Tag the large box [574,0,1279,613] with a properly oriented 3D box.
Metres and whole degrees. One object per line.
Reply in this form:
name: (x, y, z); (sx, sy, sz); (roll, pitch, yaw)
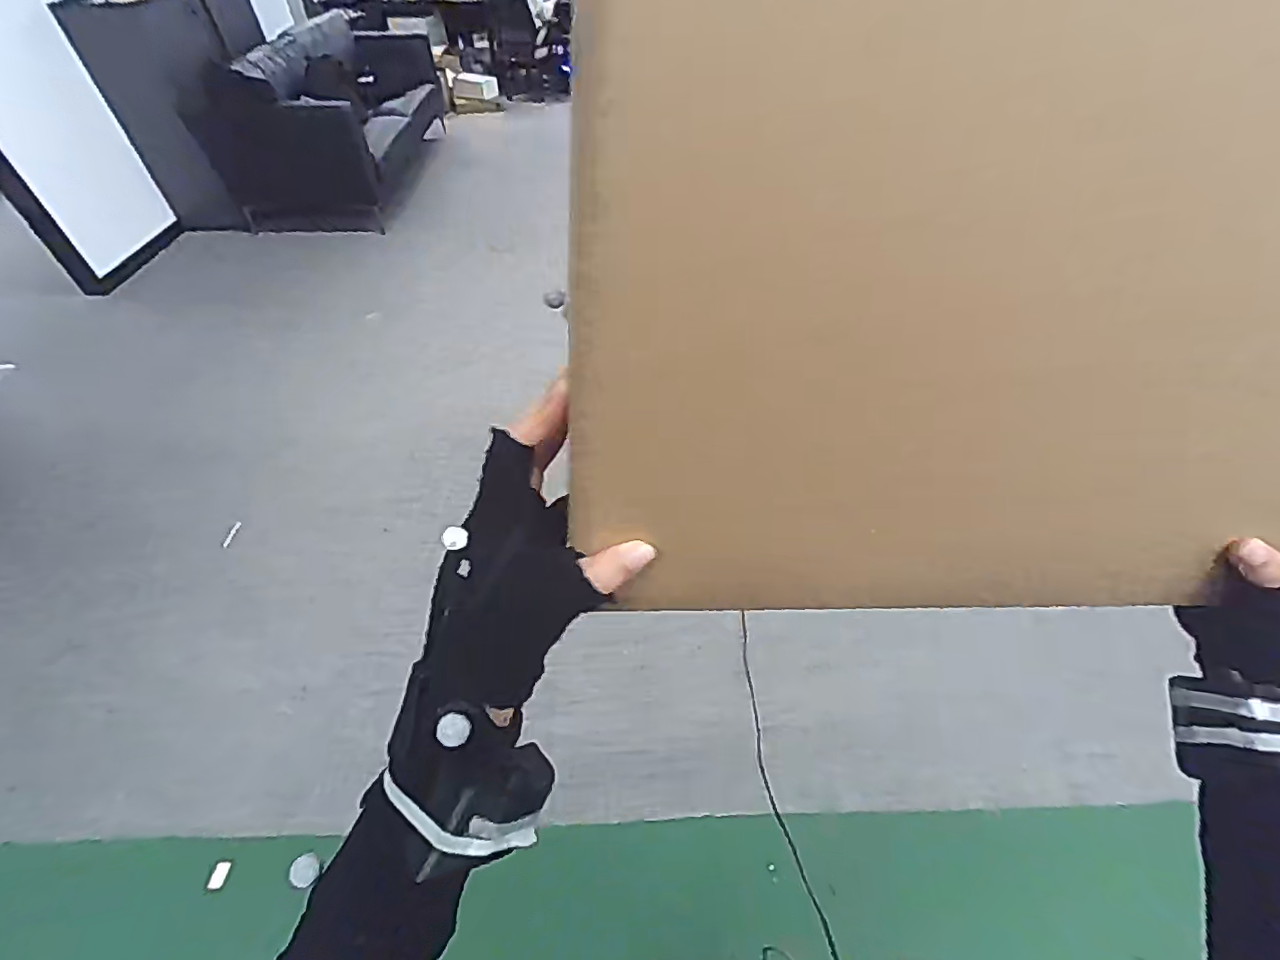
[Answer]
large box: (0.173, -0.137, 0.327); (0.408, 0.320, 0.320); (2, 42, -10)
